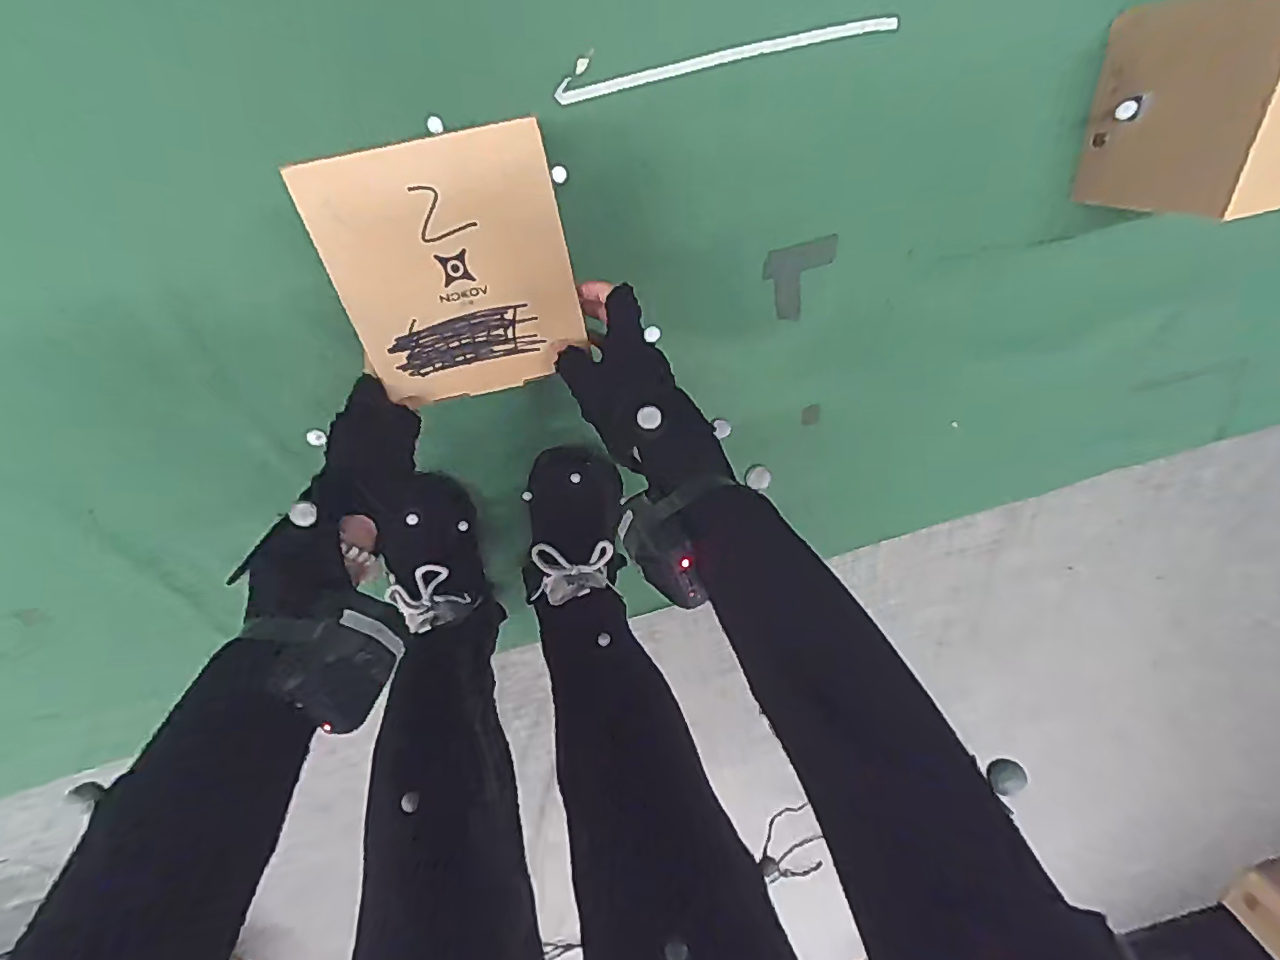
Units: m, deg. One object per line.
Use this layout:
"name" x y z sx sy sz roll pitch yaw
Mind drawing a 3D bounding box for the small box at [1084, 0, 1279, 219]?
"small box" 0.569 -0.353 0.488 0.179 0.176 0.168 -14 124 -2
